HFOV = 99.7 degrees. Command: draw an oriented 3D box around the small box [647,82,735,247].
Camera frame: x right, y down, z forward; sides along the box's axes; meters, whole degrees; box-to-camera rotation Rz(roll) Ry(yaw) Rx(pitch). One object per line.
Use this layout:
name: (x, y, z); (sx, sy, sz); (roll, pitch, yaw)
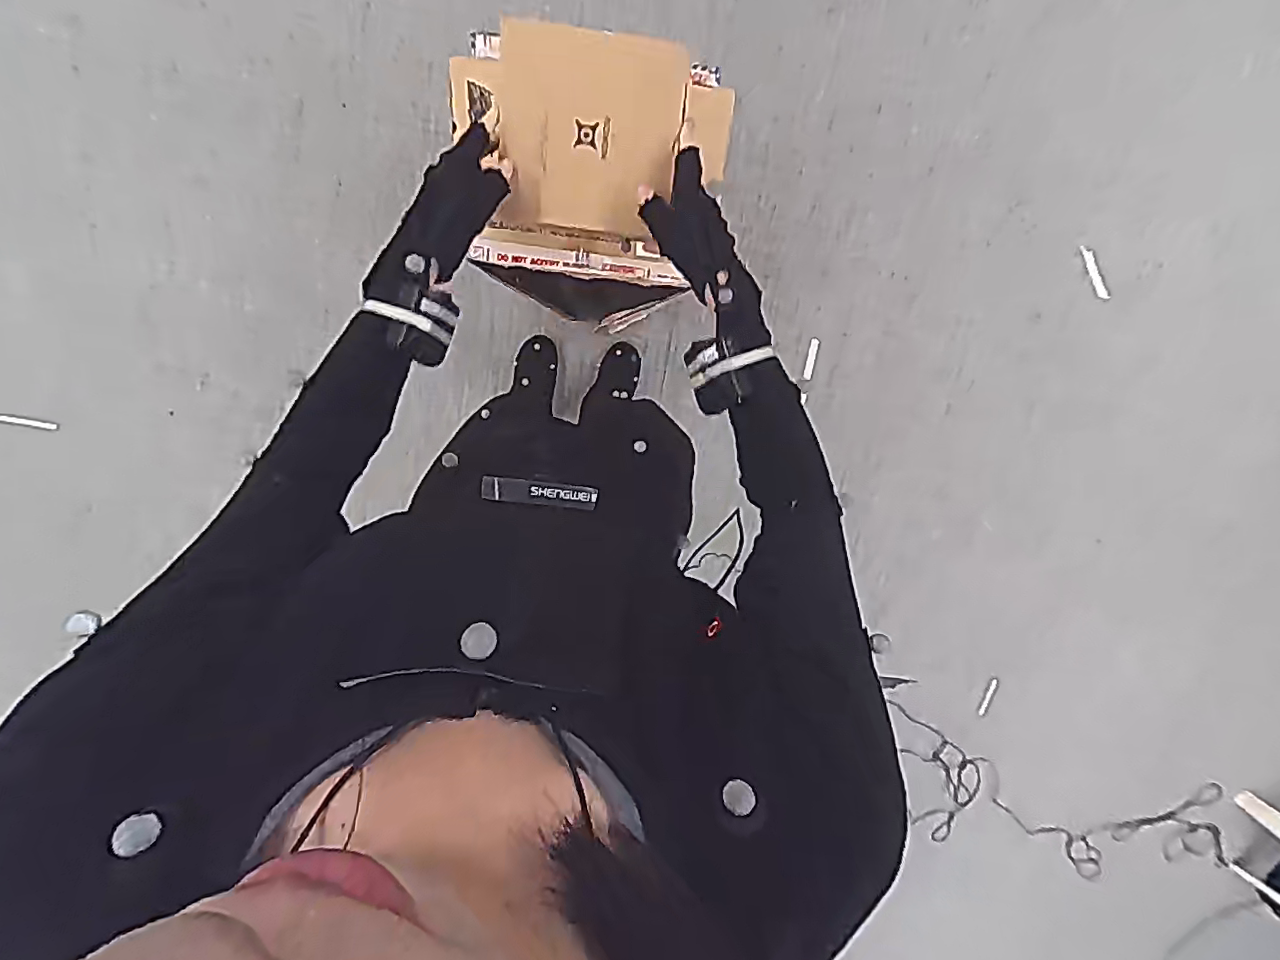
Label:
small box: (0.029, -0.463, 0.807); (0.168, 0.176, 0.179); (6, 104, -6)

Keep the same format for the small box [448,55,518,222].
small box: (-0.167, -0.480, 0.791); (0.179, 0.176, 0.168); (3, 105, -3)

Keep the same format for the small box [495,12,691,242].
small box: (-0.049, -0.360, 0.587); (0.179, 0.176, 0.168); (6, 110, -2)
